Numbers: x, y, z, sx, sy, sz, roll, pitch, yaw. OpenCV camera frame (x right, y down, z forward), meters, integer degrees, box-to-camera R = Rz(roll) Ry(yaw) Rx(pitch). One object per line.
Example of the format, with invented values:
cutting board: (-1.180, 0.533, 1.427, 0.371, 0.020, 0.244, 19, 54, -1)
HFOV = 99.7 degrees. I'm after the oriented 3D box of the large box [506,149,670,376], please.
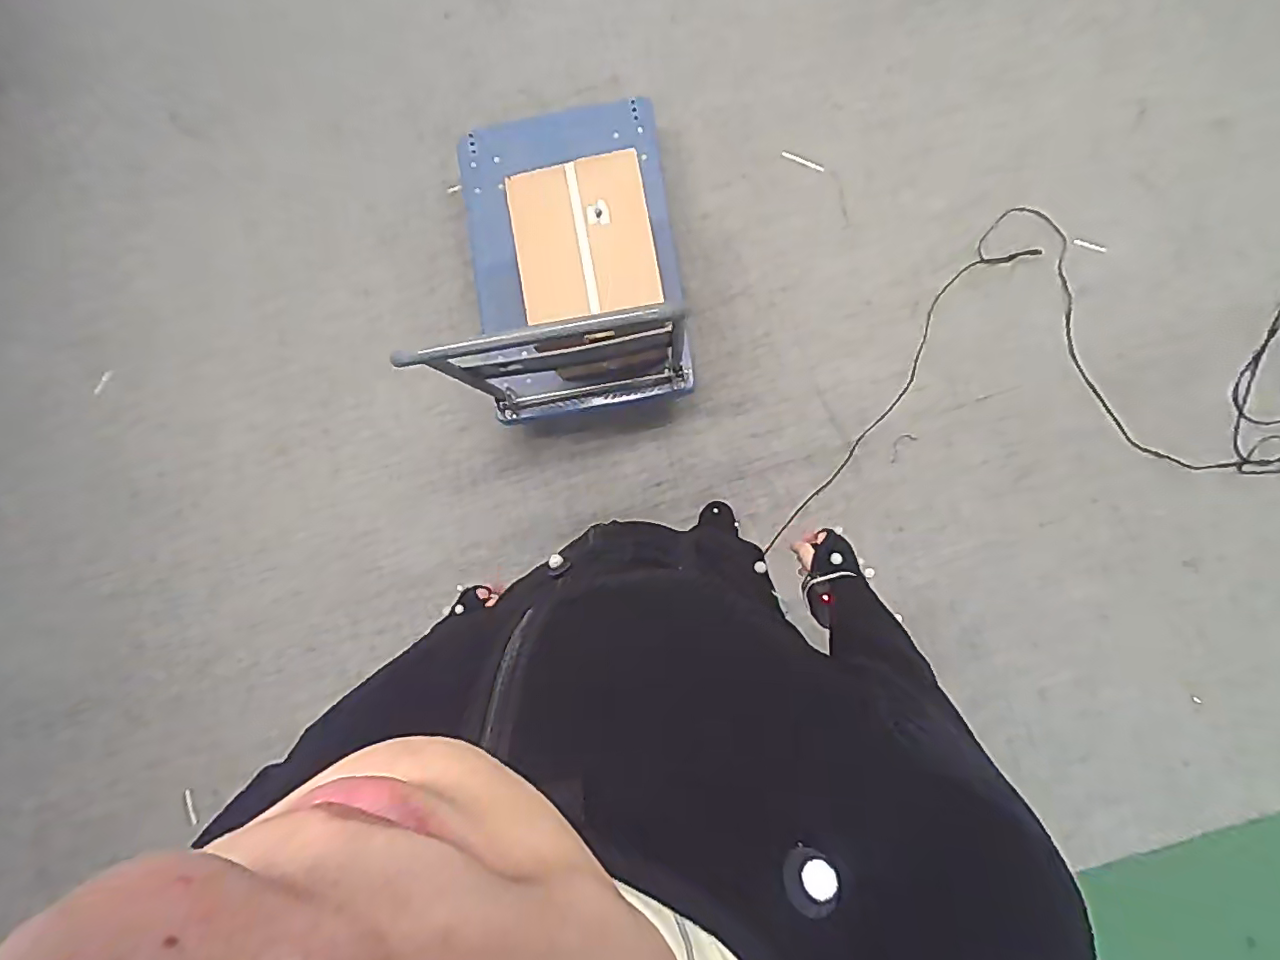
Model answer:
large box: (-0.111, -0.518, 1.362, 0.320, 0.320, 0.408, -10, 86, 3)
